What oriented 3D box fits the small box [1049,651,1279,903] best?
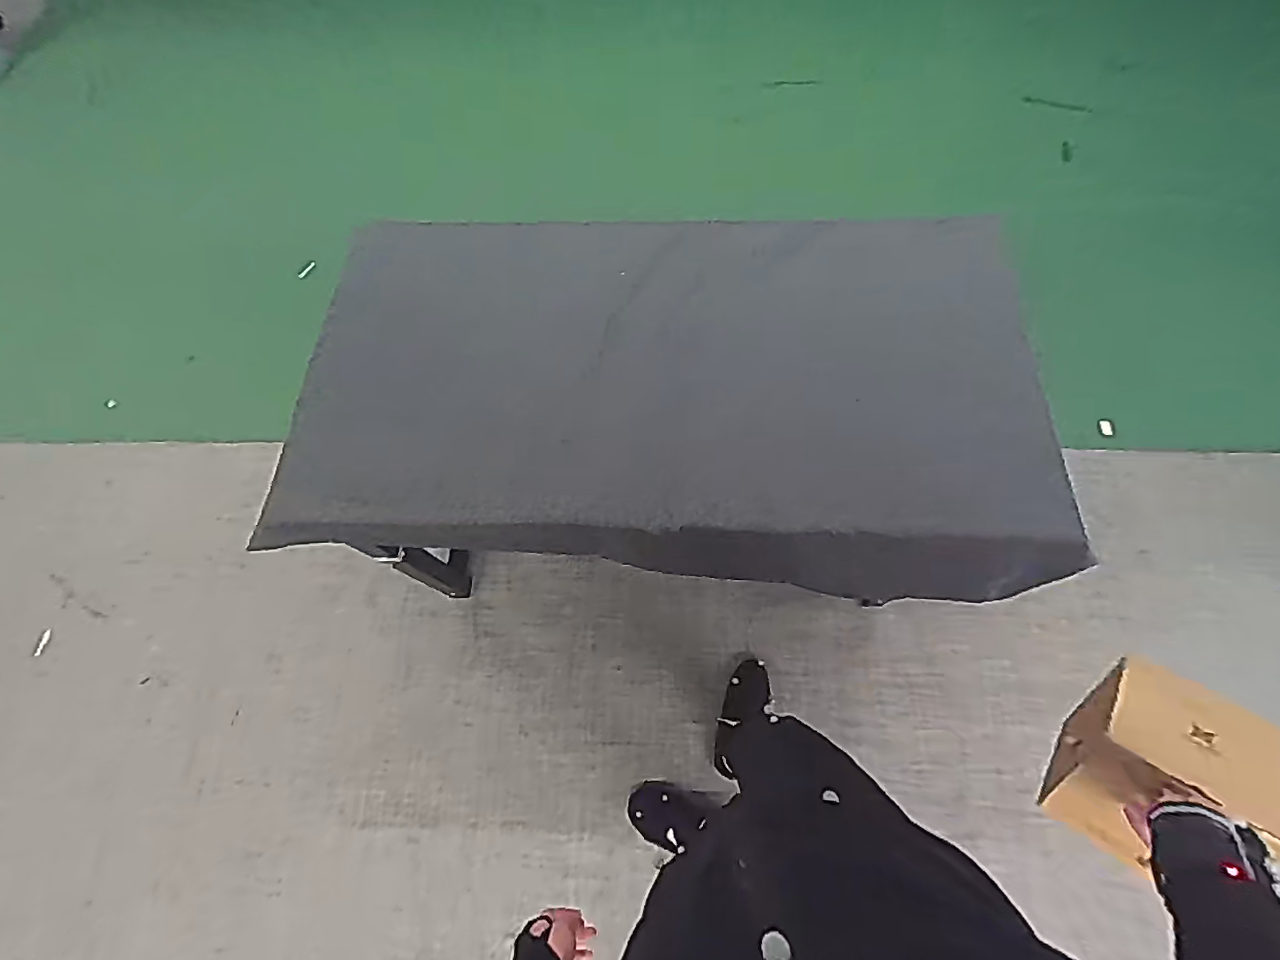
[{"bbox_3d":[0.642,0.355,0.655,0.179,0.176,0.168,-26,47,-36],"label":"small box"}]
